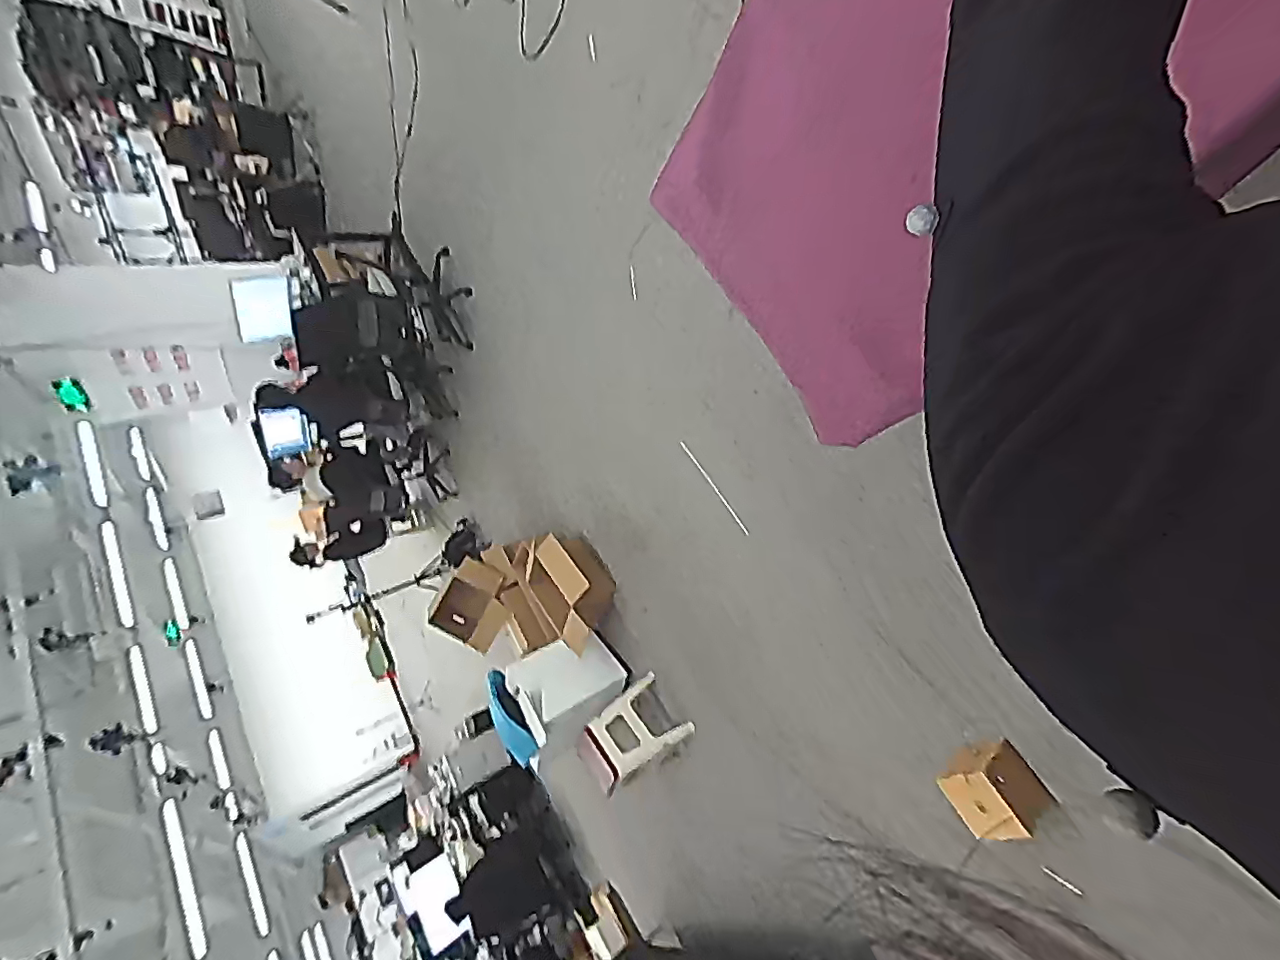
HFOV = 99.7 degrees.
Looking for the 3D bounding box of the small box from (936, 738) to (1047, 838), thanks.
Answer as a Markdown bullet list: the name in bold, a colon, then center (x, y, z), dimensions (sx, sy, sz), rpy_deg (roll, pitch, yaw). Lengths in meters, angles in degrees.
- **small box**: center (0.987, 0.861, 1.514), dimensions (0.179, 0.176, 0.168), rpy_deg (57, 142, 20)
